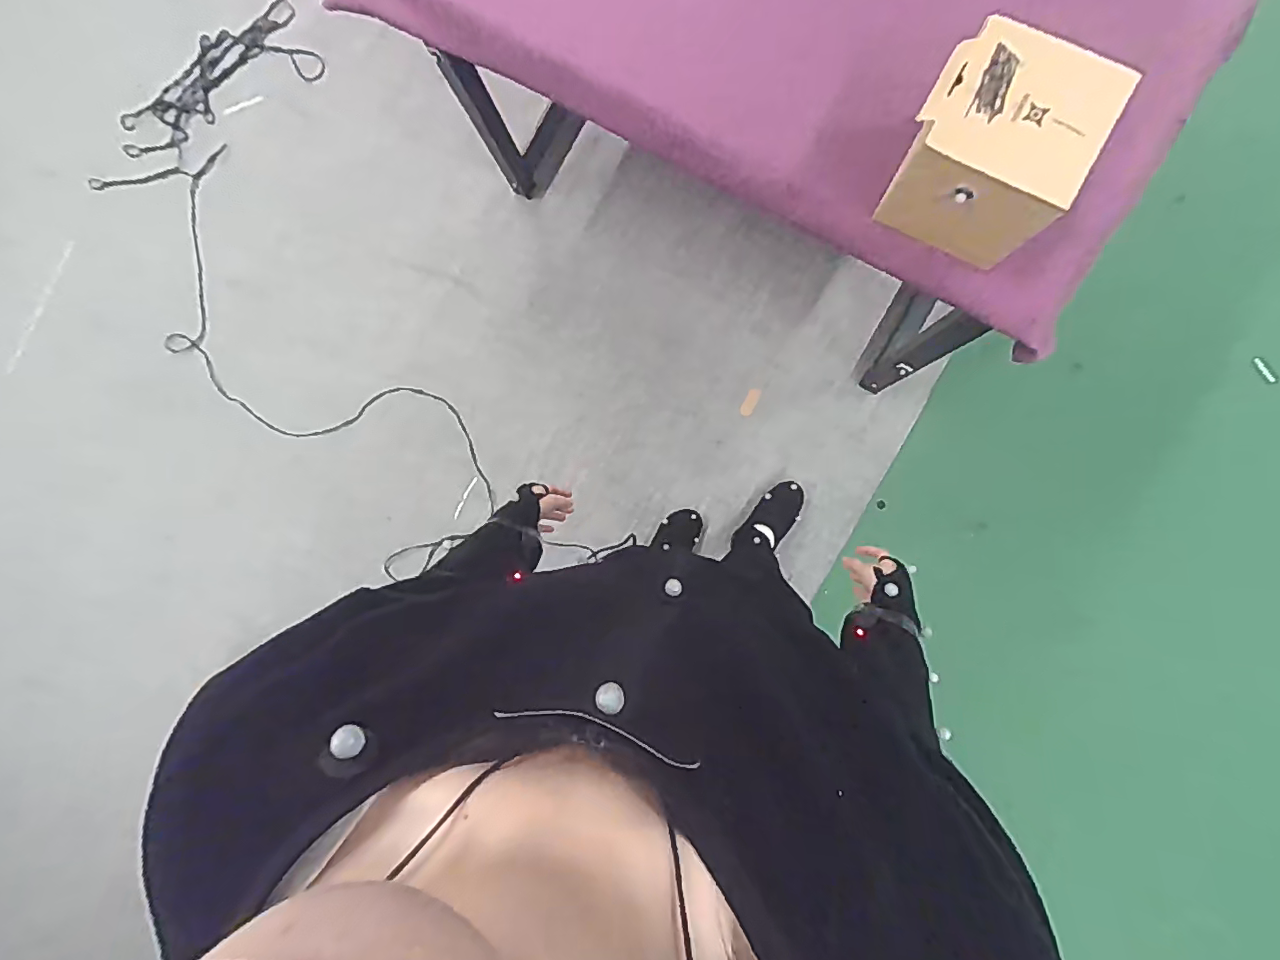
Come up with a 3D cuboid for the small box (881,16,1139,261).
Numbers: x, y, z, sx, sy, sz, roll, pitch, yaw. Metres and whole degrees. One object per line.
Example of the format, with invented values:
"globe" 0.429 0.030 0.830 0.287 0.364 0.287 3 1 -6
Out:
"small box" 0.437 -0.405 0.676 0.179 0.176 0.168 29 92 5
